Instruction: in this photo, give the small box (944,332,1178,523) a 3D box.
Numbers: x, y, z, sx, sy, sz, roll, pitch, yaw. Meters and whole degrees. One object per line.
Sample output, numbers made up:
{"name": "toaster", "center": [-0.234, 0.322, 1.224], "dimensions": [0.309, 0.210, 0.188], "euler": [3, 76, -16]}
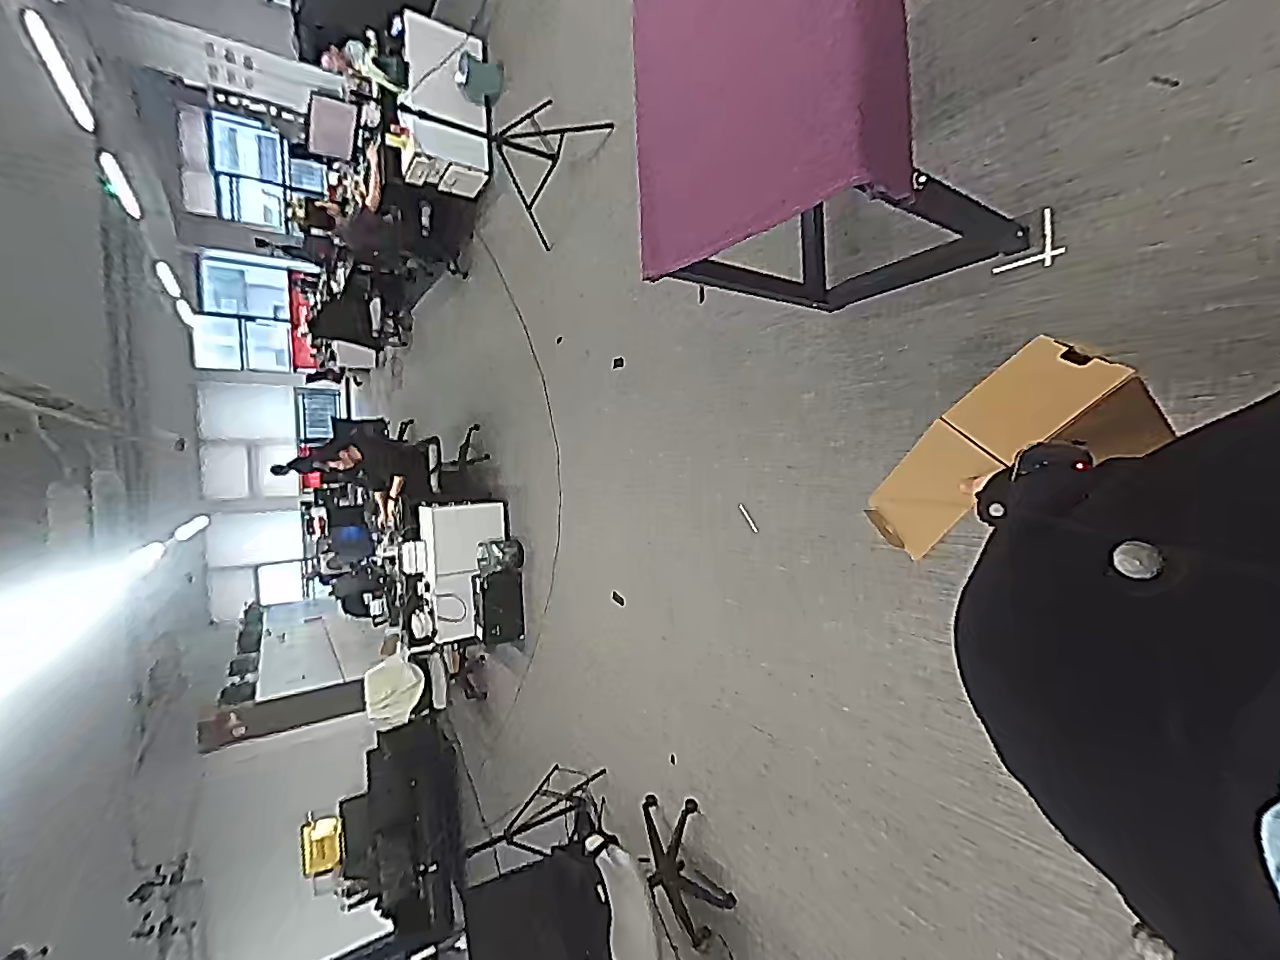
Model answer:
{"name": "small box", "center": [0.589, -0.071, 0.768], "dimensions": [0.179, 0.176, 0.168], "euler": [-45, 25, 20]}
